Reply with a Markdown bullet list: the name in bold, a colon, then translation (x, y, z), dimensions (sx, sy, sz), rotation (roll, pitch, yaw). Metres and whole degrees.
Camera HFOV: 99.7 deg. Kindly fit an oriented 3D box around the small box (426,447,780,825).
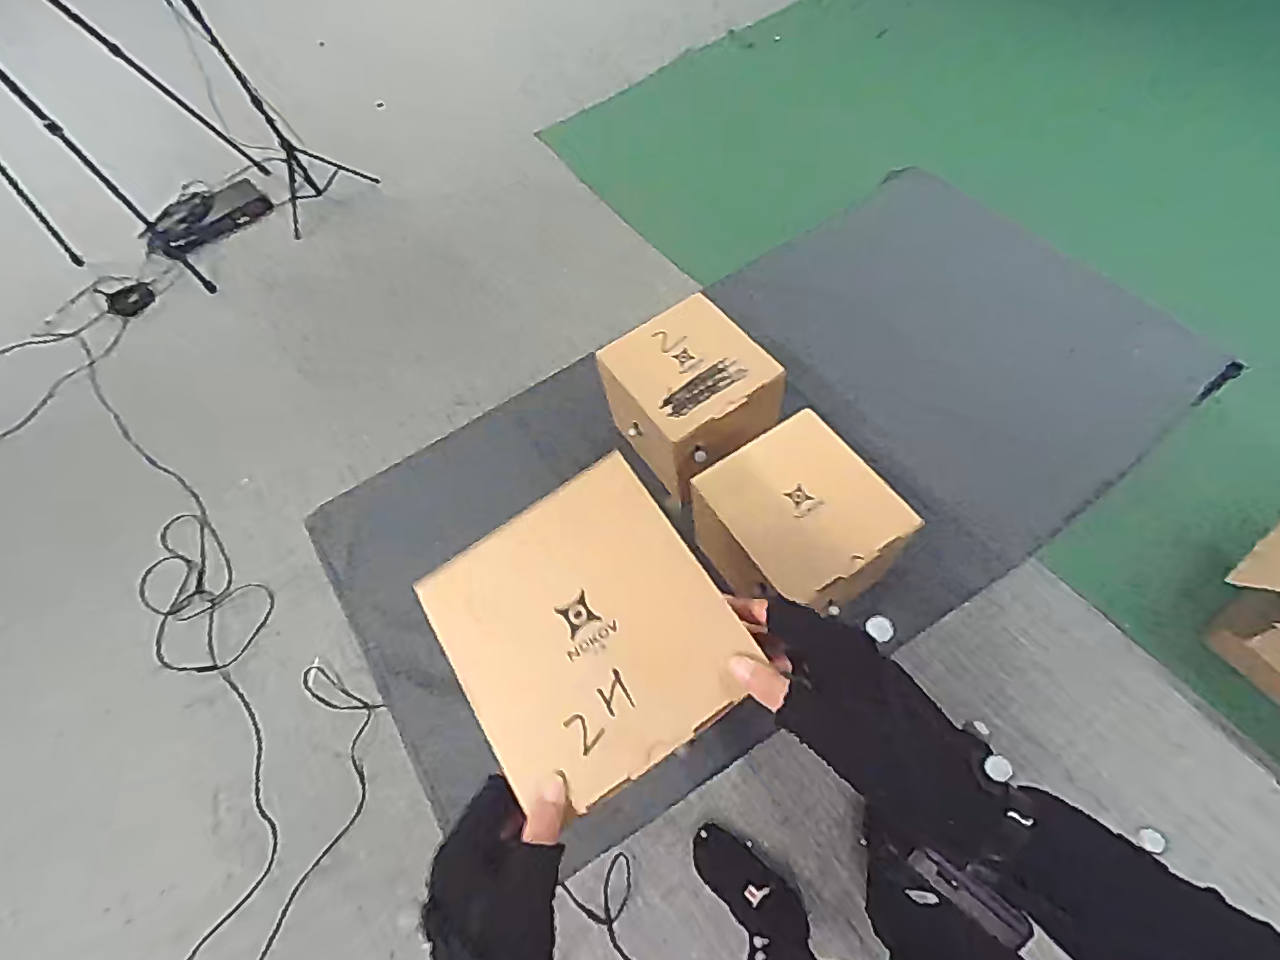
- **small box**: translation (-0.021, 0.111, 0.410), dimensions (0.168, 0.176, 0.179), rotation (-34, 71, -4)
